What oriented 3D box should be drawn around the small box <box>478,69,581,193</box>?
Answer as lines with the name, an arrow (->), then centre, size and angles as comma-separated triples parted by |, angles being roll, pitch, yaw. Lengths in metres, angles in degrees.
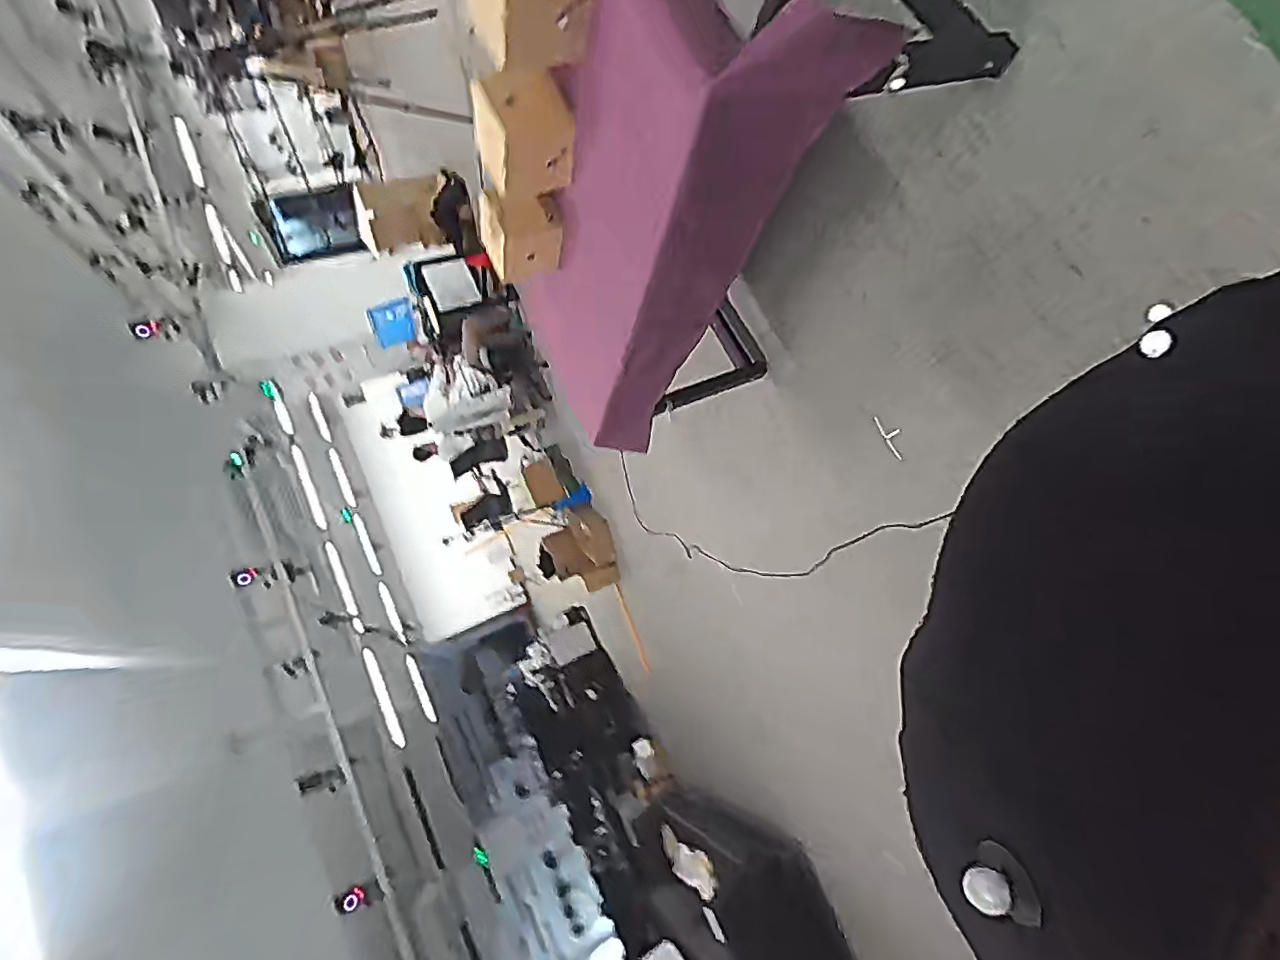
small box -> -0.252, -0.789, 1.221 | 0.179, 0.176, 0.168 | 62, 159, 13

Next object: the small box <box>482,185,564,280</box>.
small box -> -0.317, -0.685, 1.475 | 0.168, 0.176, 0.179 | 64, 160, 12

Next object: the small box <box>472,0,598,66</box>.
small box -> -0.186, -0.881, 0.955 | 0.179, 0.176, 0.168 | 62, 159, 10
